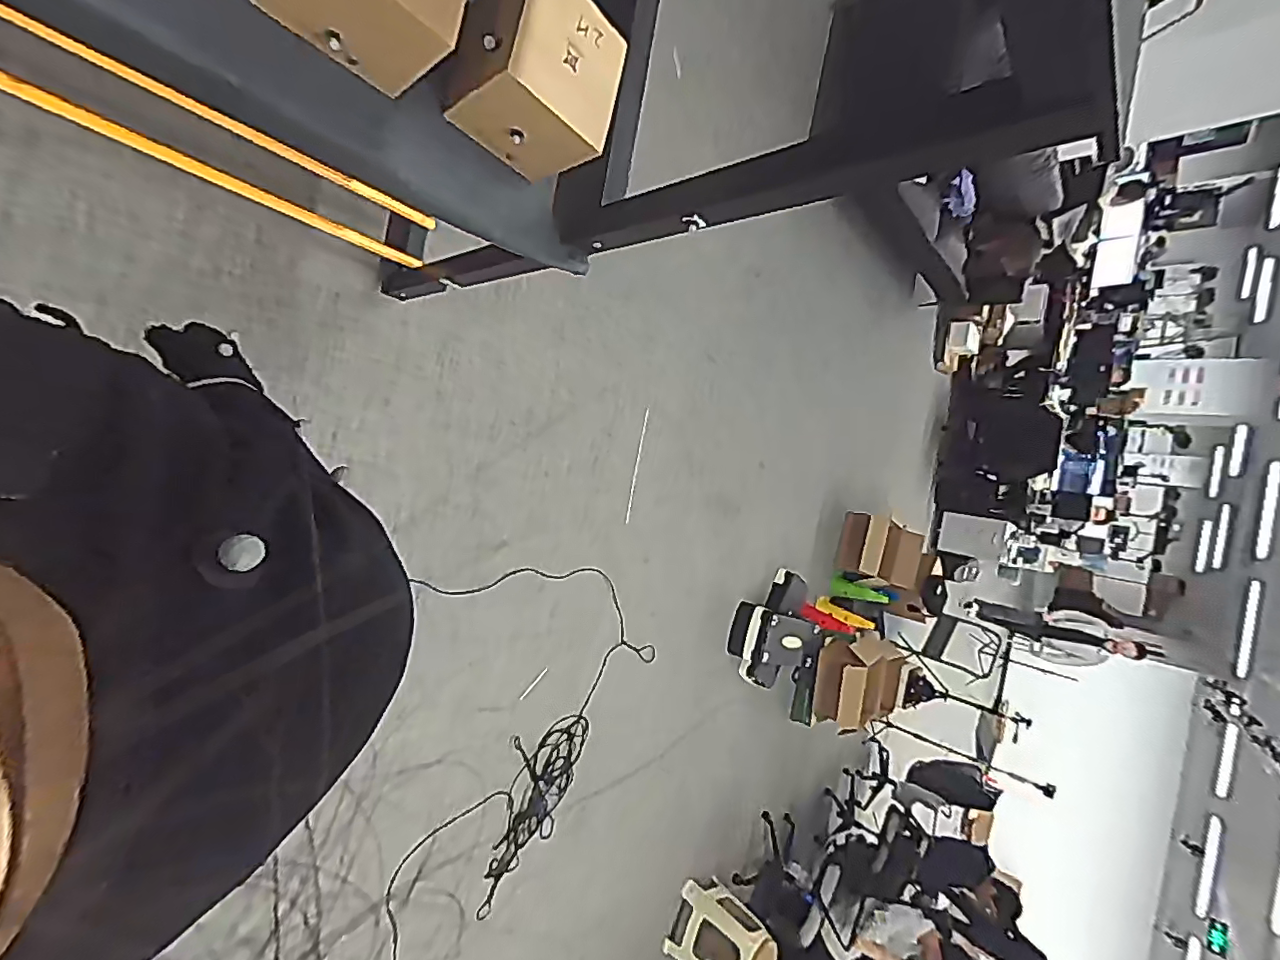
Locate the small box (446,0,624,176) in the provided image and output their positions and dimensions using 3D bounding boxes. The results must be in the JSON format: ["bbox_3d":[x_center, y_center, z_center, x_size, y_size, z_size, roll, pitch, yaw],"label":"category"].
[{"bbox_3d":[-0.153,-0.573,0.771,0.168,0.176,0.179,17,84,-47],"label":"small box"}]
